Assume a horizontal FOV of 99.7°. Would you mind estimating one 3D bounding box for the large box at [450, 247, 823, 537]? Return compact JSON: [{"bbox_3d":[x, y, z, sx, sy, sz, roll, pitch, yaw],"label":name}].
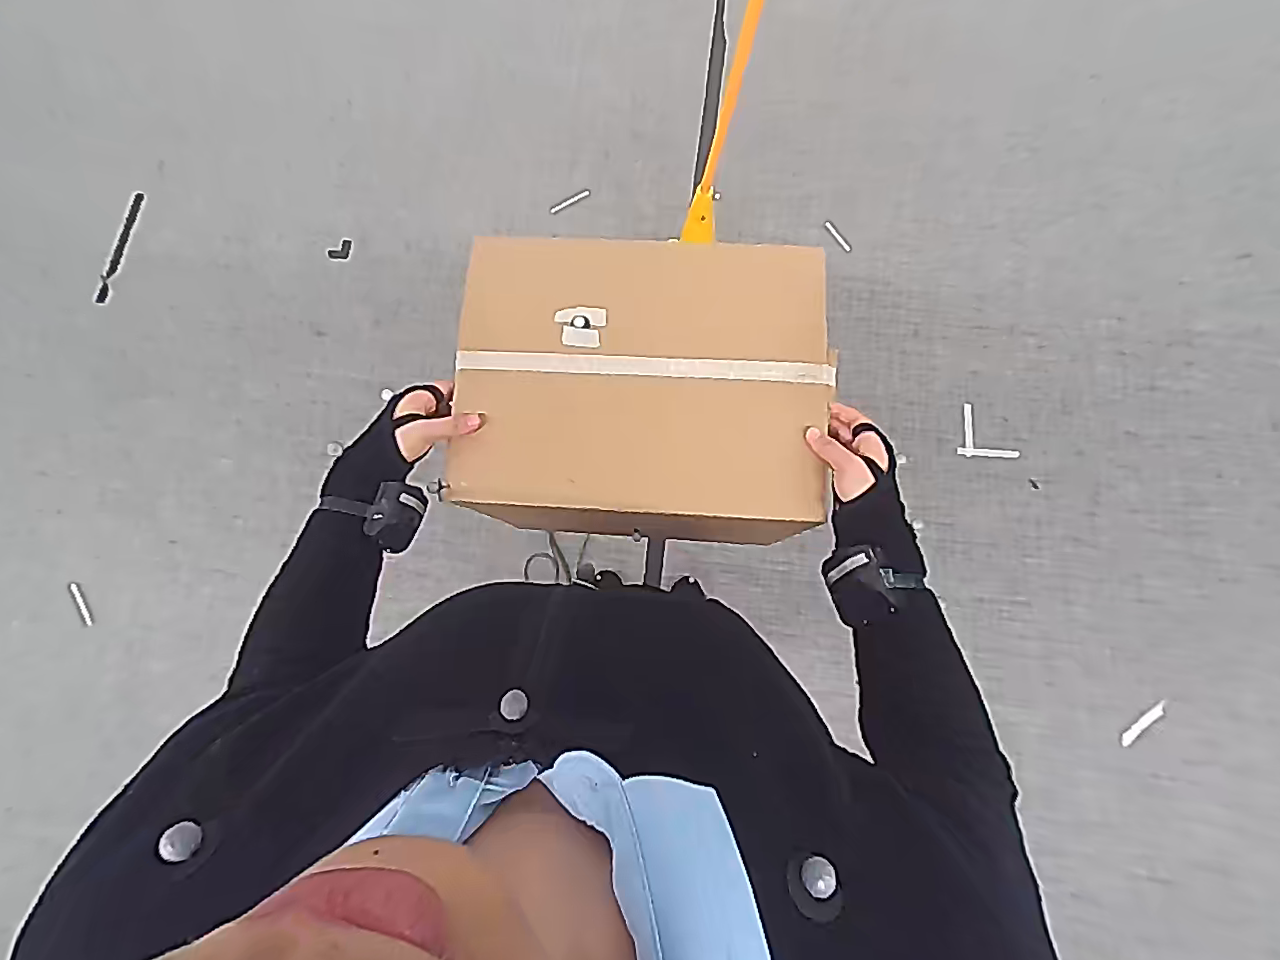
[{"bbox_3d":[0.009,-0.092,0.743,0.408,0.320,0.320,3,78,4],"label":"large box"}]
